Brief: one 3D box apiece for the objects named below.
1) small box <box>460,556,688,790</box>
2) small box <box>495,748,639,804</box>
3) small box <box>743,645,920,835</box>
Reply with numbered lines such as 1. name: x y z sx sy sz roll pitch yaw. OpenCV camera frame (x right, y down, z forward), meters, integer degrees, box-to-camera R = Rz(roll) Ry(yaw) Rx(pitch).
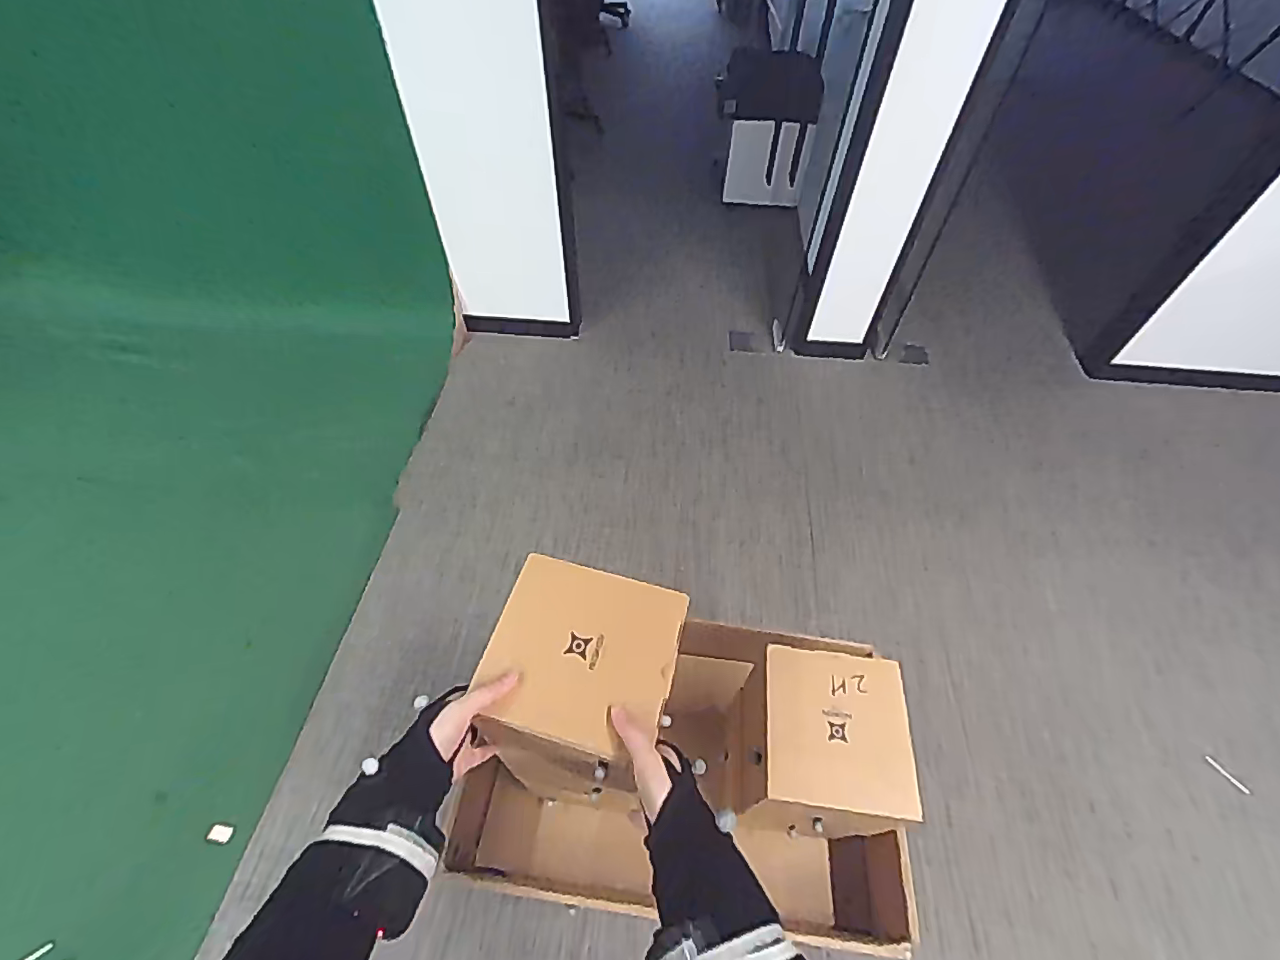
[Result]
1. small box: -0.060 0.209 0.574 0.179 0.176 0.168 14 53 7
2. small box: -0.067 0.304 0.710 0.168 0.176 0.179 11 52 7
3. small box: 0.227 0.334 0.687 0.168 0.176 0.179 7 53 5
